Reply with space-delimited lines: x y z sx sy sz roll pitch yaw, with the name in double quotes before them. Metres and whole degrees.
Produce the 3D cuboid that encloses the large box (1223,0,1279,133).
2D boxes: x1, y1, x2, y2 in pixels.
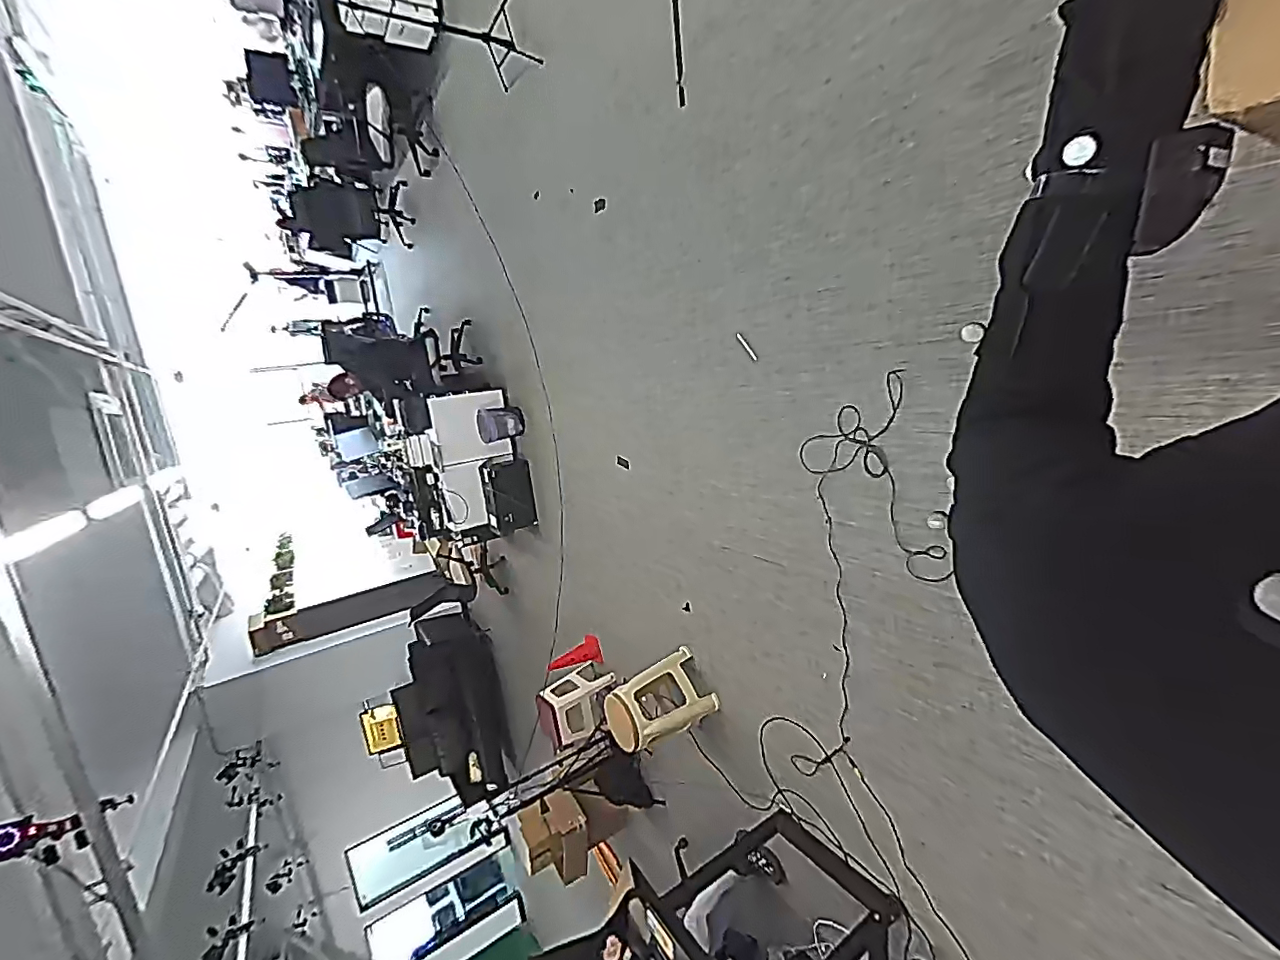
"large box" 0.515 -0.357 0.170 0.408 0.320 0.320 11 114 54
